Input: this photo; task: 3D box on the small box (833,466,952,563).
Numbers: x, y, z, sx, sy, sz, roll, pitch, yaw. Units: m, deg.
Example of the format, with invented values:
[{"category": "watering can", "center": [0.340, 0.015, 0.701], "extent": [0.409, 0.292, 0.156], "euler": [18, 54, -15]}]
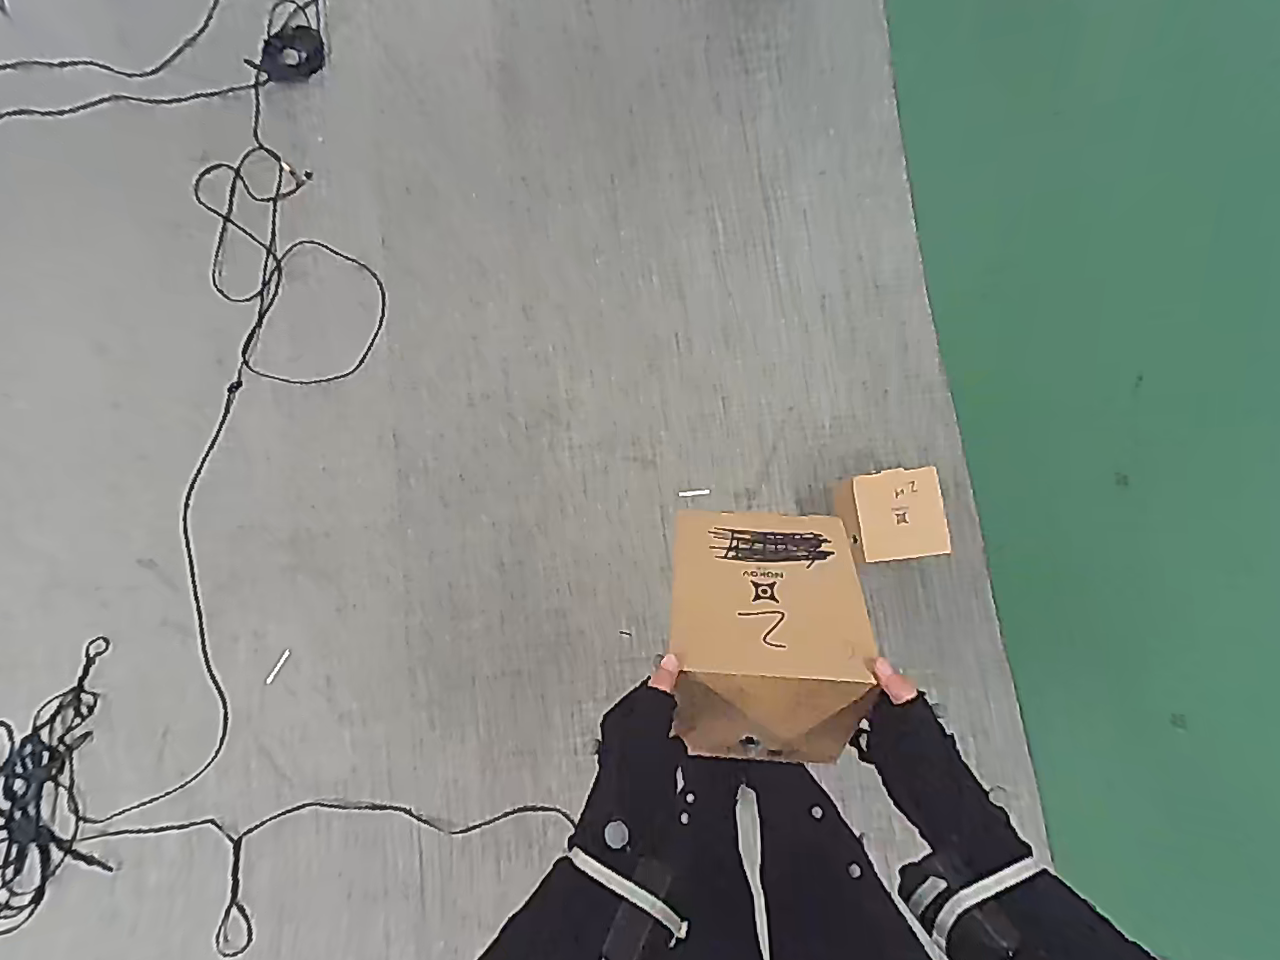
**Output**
[{"category": "small box", "center": [0.518, 0.075, 1.132], "extent": [0.168, 0.176, 0.179], "euler": [-7, 82, 4]}]
